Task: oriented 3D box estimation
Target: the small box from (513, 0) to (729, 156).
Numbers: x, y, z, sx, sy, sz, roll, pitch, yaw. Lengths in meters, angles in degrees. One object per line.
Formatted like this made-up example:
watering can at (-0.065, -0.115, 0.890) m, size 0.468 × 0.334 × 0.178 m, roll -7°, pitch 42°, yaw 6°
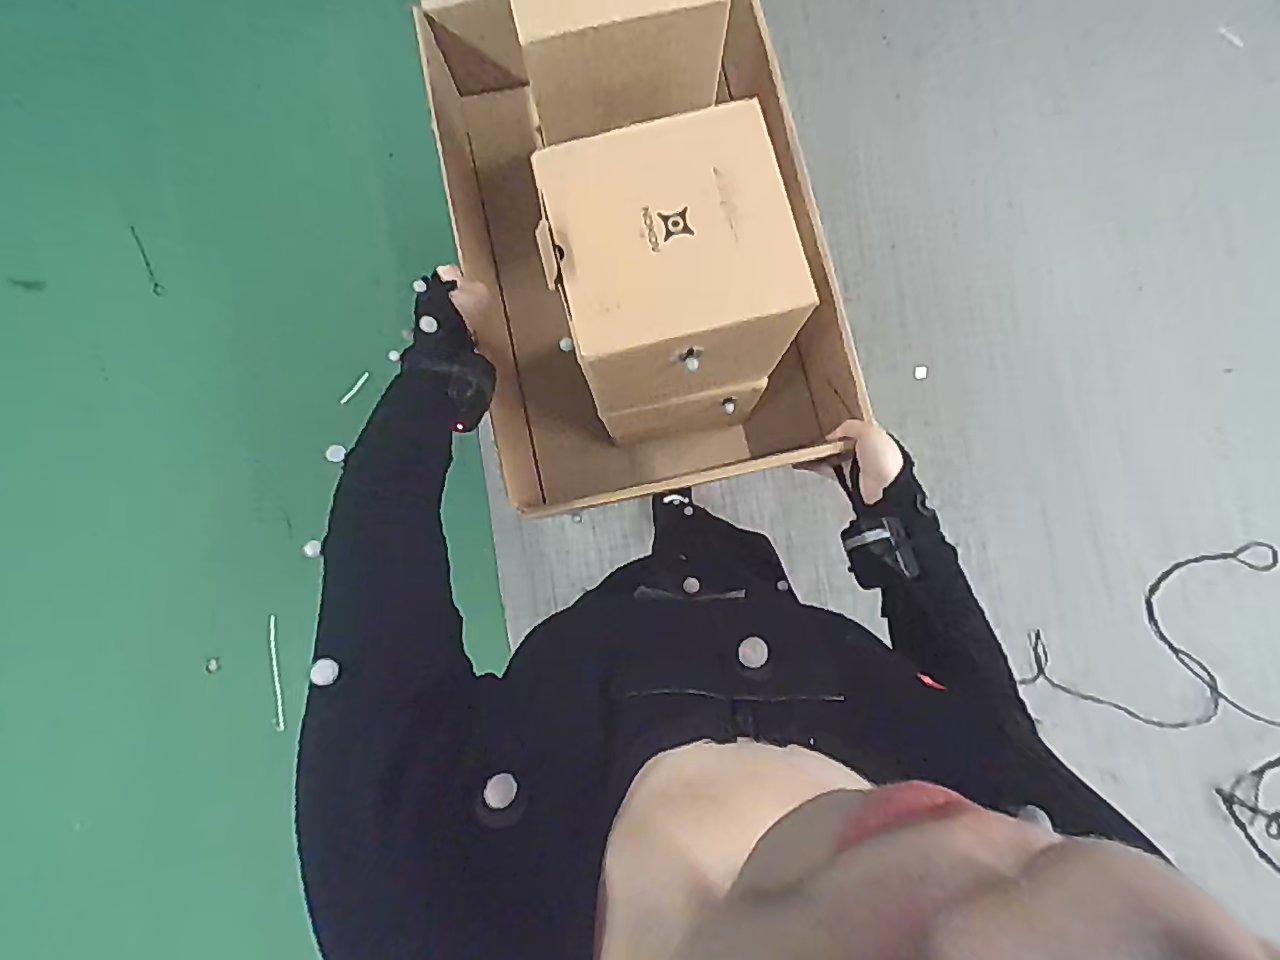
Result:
small box at (-0.026, -0.419, 0.504) m, size 0.168 × 0.176 × 0.179 m, roll -12°, pitch 84°, yaw 0°

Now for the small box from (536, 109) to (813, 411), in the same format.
small box at (0.025, -0.172, 0.476) m, size 0.179 × 0.176 × 0.168 m, roll -14°, pitch 83°, yaw -1°
